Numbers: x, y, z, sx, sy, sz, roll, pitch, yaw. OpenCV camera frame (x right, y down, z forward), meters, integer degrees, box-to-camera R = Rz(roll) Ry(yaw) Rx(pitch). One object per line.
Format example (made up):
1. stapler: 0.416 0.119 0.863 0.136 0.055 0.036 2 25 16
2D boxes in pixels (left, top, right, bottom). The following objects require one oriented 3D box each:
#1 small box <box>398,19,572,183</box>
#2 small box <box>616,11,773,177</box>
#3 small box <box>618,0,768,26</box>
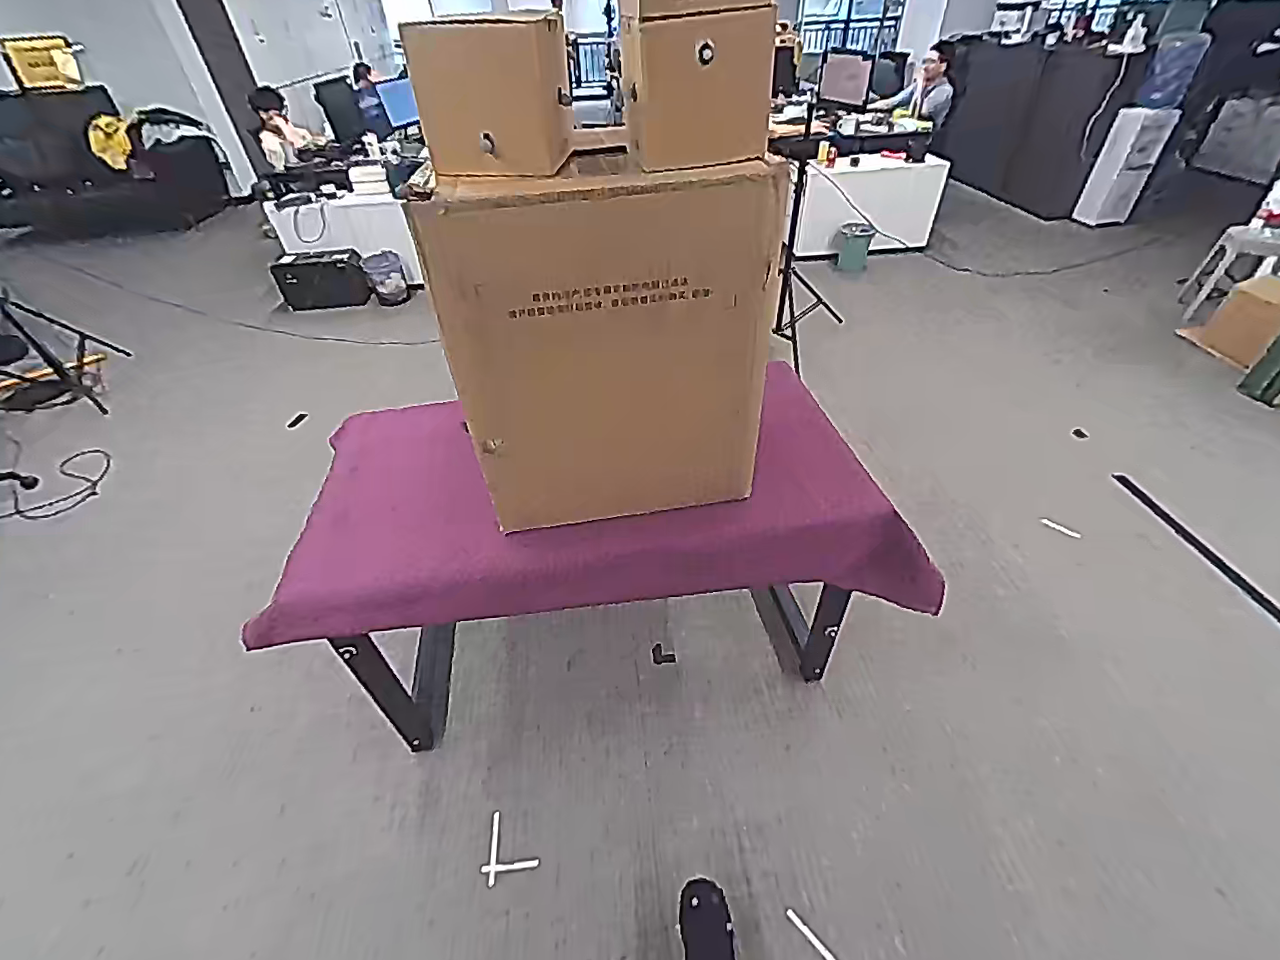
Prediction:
1. small box: -0.199 -0.529 0.759 0.179 0.176 0.168 3 43 5
2. small box: 0.071 -0.539 0.759 0.179 0.176 0.168 -10 42 -6
3. small box: 0.057 -0.663 0.652 0.168 0.176 0.179 -10 43 -4
